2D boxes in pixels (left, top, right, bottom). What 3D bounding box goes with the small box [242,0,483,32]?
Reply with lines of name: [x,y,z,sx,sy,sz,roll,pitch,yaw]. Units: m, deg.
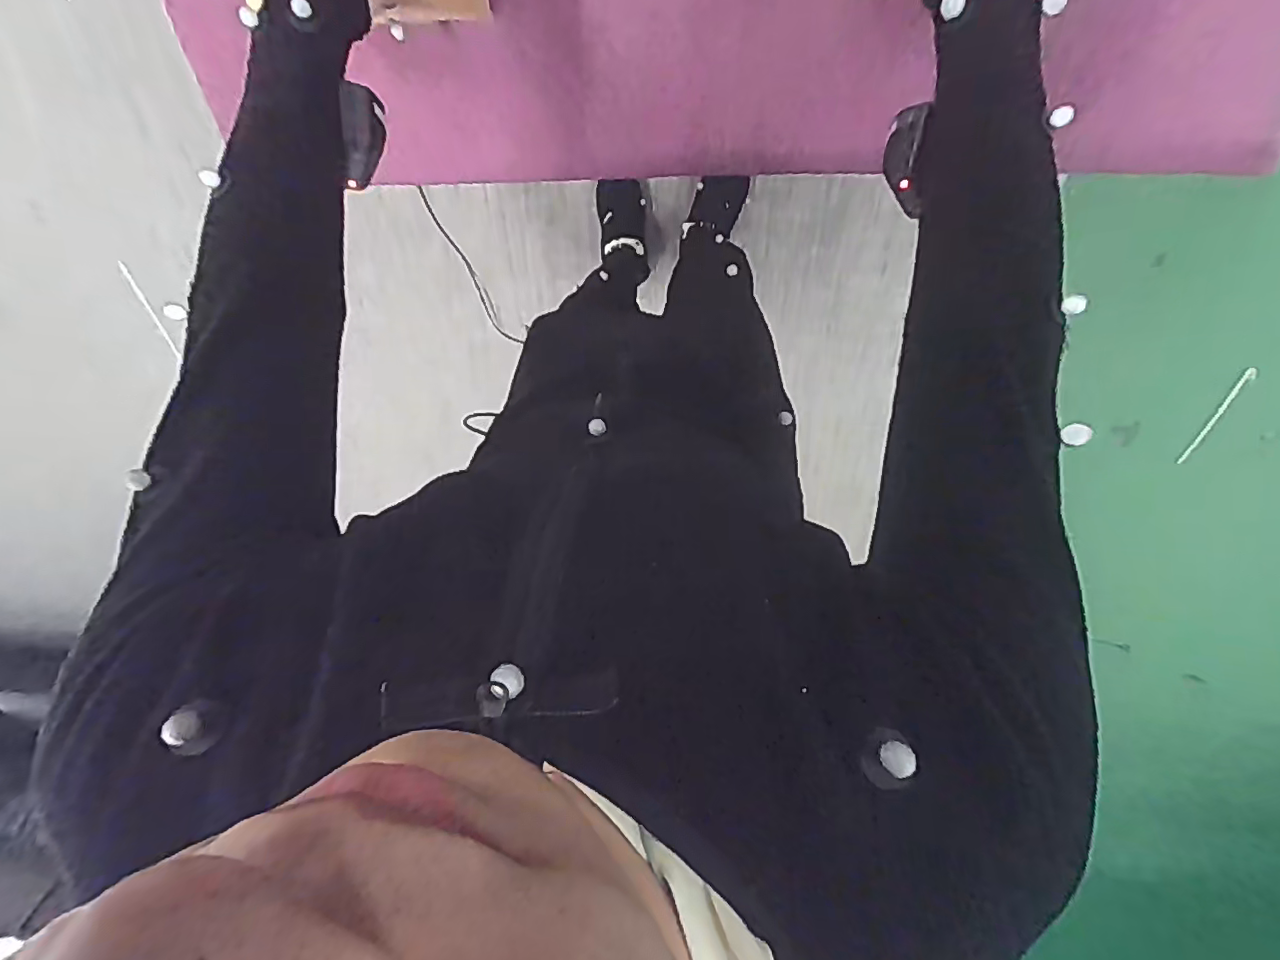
small box: [-0.259,-0.522,0.483,0.168,0.176,0.179,2,128,7]
